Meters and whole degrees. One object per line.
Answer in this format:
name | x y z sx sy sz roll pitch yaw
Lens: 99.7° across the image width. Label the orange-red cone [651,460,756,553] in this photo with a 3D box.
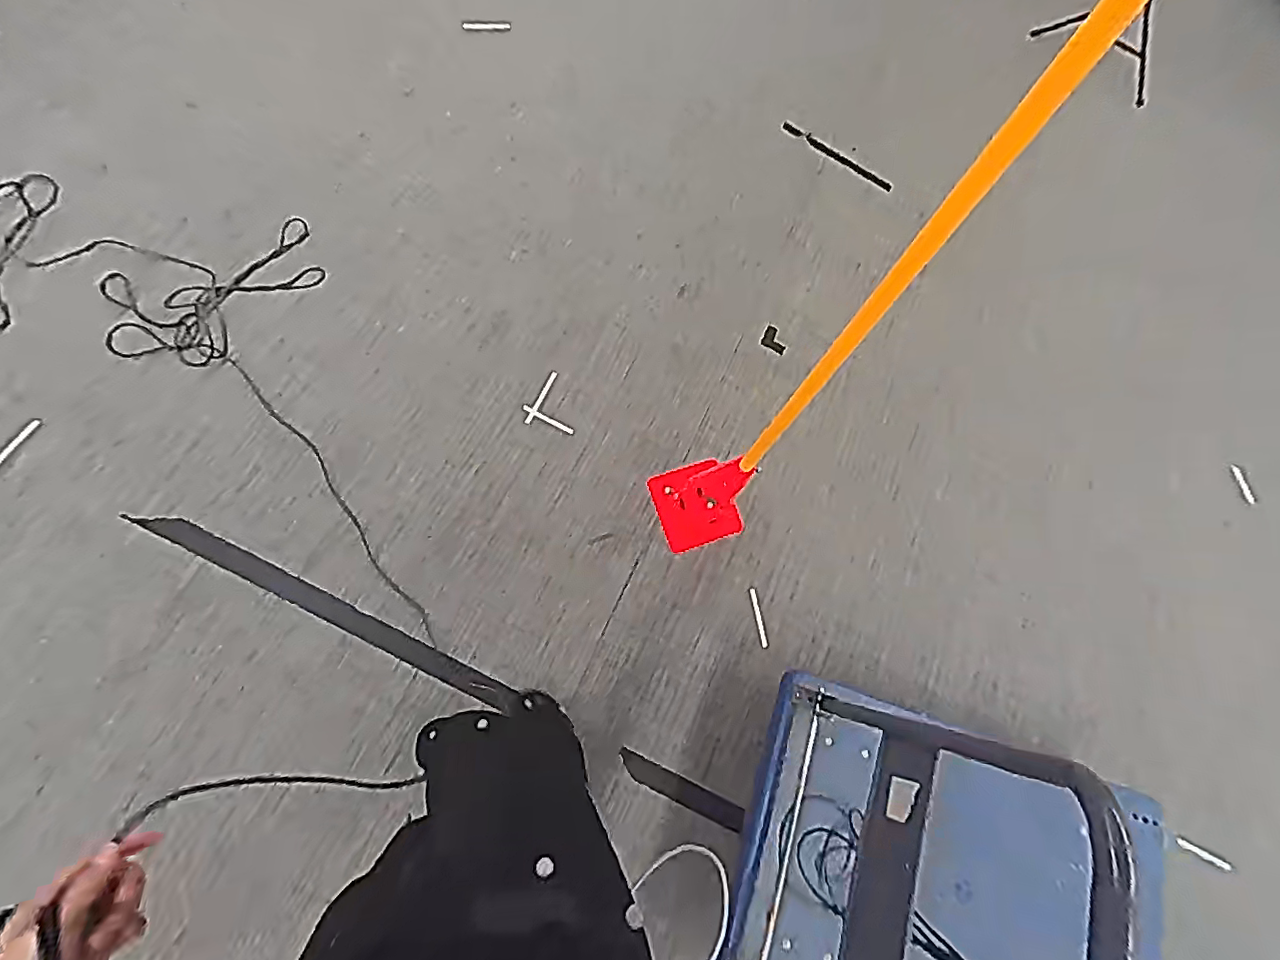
orange-red cone | 0.170 0.023 1.164 0.198 0.360 0.199 -16 80 -13
